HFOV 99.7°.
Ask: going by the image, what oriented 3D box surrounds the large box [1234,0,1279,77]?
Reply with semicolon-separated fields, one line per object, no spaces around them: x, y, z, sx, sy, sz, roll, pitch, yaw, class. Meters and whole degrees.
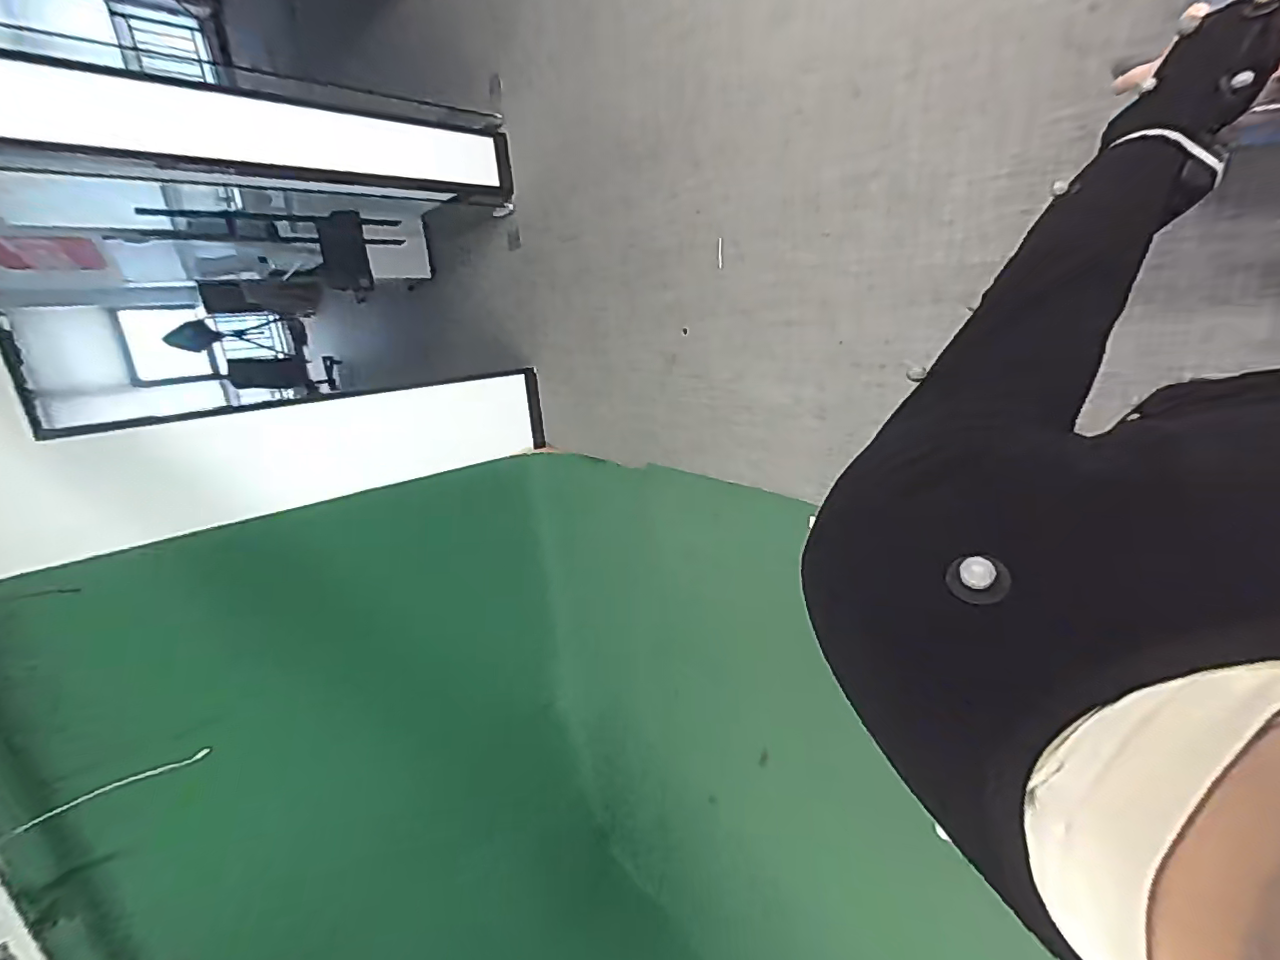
0.991;-0.779;0.629;0.320;0.320;0.408;22;119;44;large box
